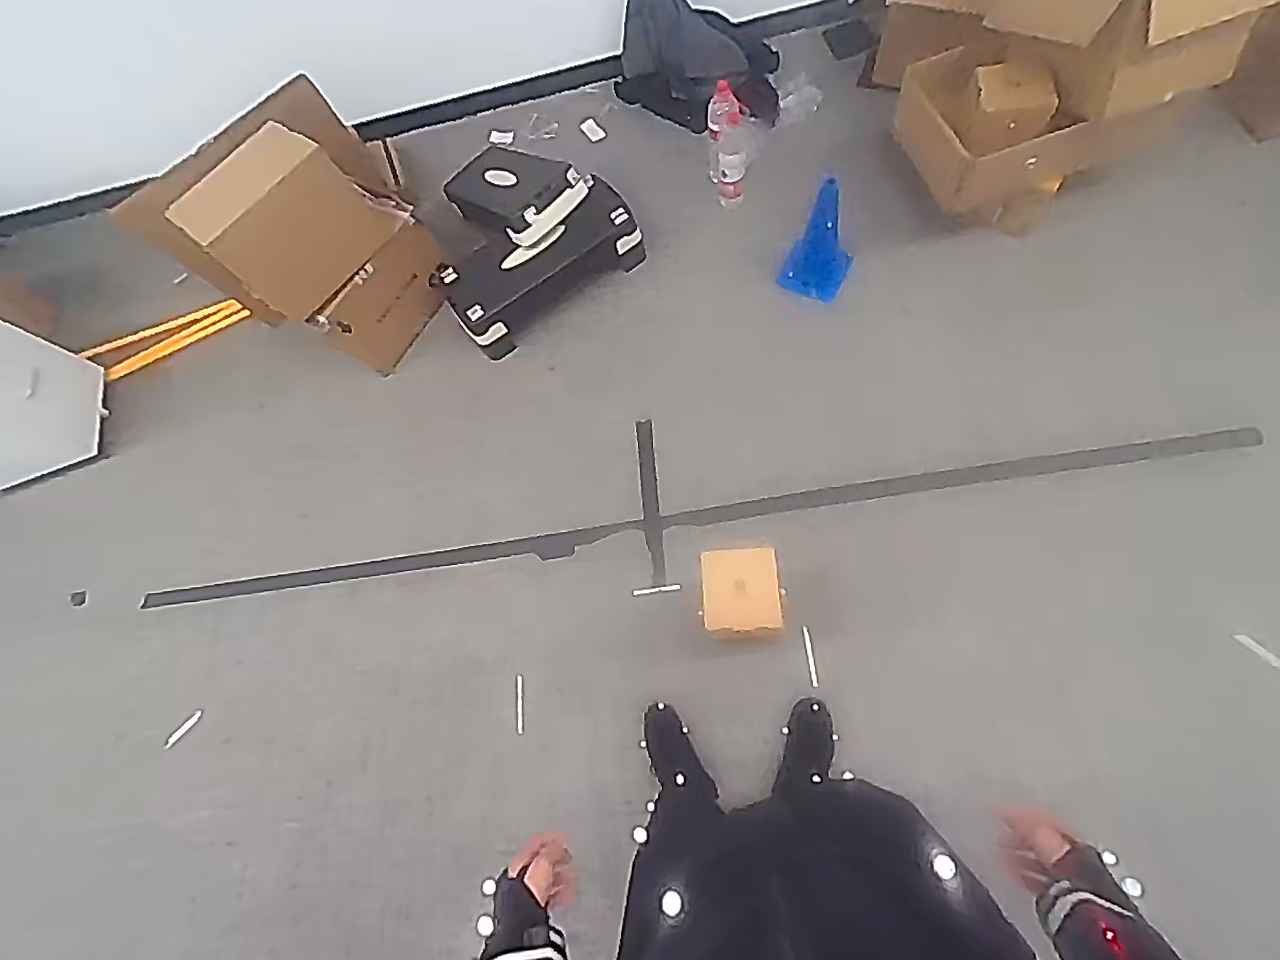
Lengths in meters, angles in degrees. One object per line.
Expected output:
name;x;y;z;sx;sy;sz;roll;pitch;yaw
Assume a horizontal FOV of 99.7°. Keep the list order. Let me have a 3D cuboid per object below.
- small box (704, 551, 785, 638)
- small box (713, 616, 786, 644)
small box;0.238;0.271;1.258;0.168;0.176;0.179;-5;72;9
small box;0.272;0.333;1.405;0.179;0.176;0.168;-10;70;8
